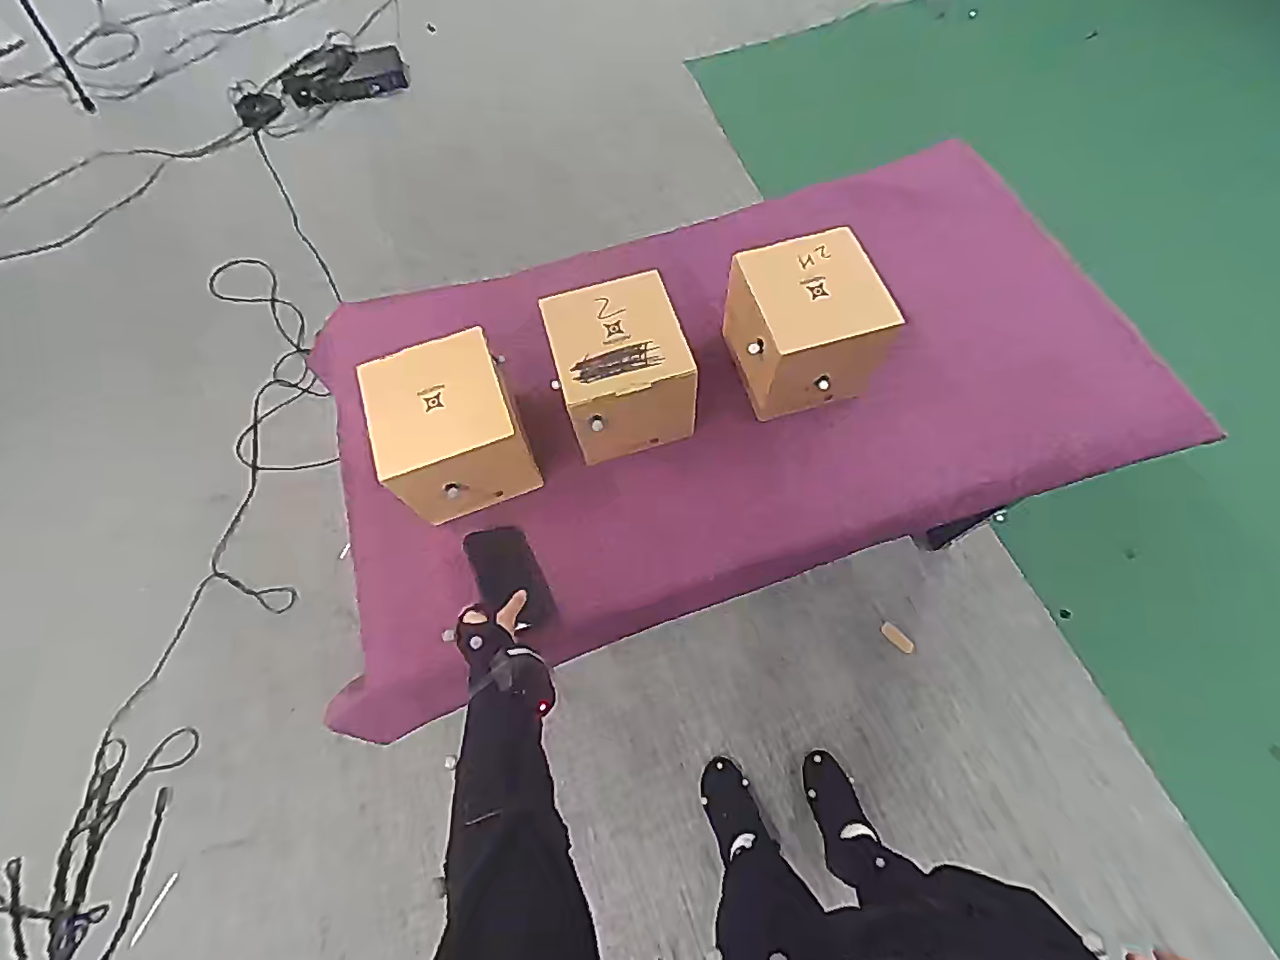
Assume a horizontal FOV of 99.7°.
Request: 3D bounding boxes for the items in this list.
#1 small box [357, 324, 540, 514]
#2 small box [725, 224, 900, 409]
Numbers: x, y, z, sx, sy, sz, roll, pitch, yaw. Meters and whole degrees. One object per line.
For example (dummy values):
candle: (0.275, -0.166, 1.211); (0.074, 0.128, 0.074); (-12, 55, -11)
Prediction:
small box: (-0.248, -0.070, 0.731); (0.168, 0.176, 0.179); (-21, 66, -5)
small box: (0.228, -0.219, 0.767); (0.168, 0.176, 0.179); (-15, 66, -4)
